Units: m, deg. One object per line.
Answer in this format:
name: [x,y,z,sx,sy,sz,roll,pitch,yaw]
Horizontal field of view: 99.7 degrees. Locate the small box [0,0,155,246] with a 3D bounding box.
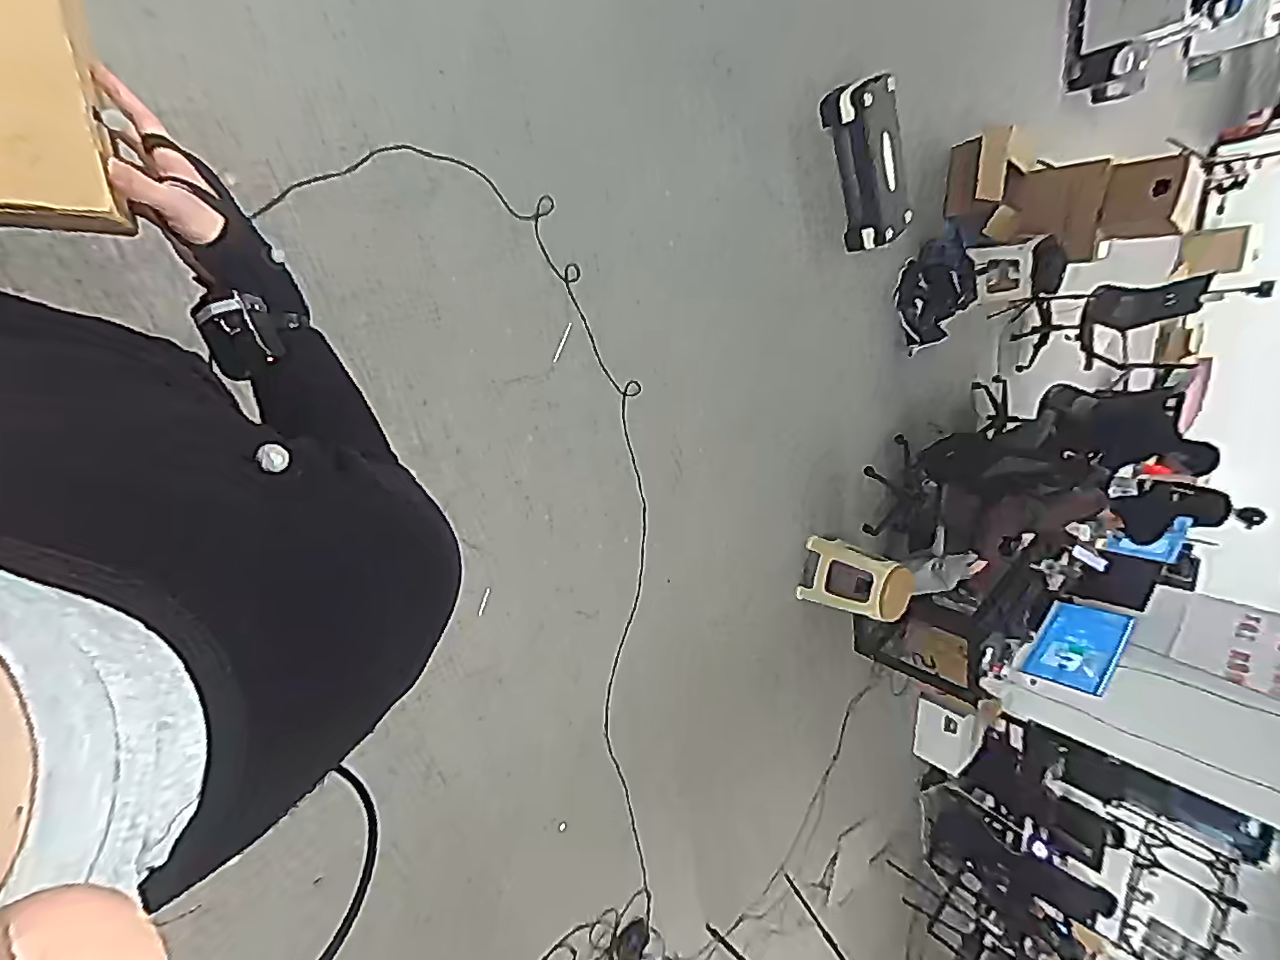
small box: [-0.451,-0.256,0.357,0.168,0.176,0.179,-14,114,-35]
